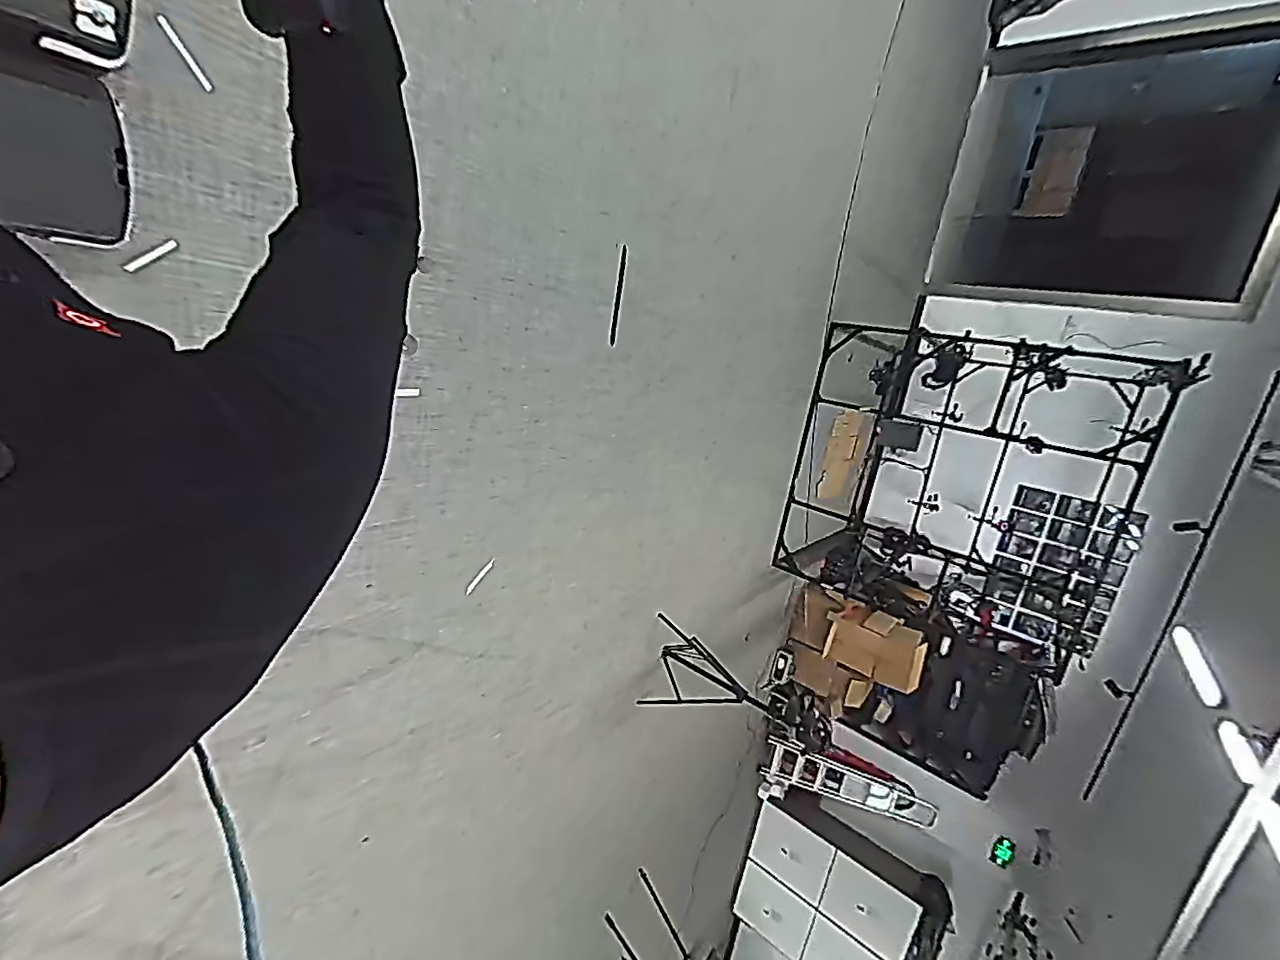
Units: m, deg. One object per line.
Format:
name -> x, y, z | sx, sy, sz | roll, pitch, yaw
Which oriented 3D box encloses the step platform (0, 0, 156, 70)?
step platform -> -1.068, -0.822, 0.681 | 0.684, 0.204, 0.286 | -13, 117, -52
